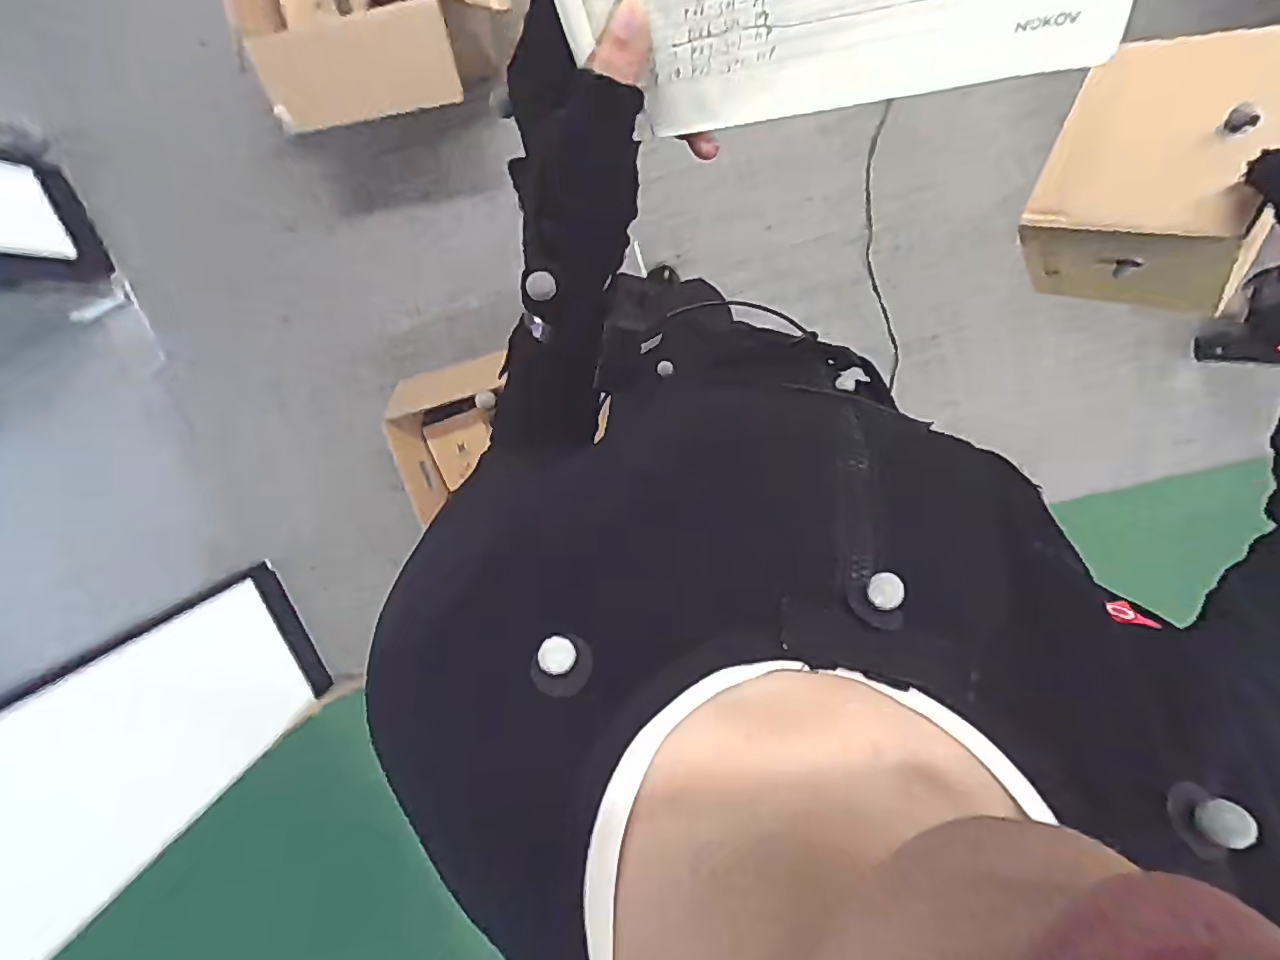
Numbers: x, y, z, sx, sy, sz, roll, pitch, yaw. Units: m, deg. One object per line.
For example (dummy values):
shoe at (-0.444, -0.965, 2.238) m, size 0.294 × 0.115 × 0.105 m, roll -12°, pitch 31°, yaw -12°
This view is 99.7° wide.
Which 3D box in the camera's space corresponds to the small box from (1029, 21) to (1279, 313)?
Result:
small box at (0.508, -0.289, 0.527) m, size 0.176 × 0.168 × 0.179 m, roll 29°, pitch 99°, yaw 41°
